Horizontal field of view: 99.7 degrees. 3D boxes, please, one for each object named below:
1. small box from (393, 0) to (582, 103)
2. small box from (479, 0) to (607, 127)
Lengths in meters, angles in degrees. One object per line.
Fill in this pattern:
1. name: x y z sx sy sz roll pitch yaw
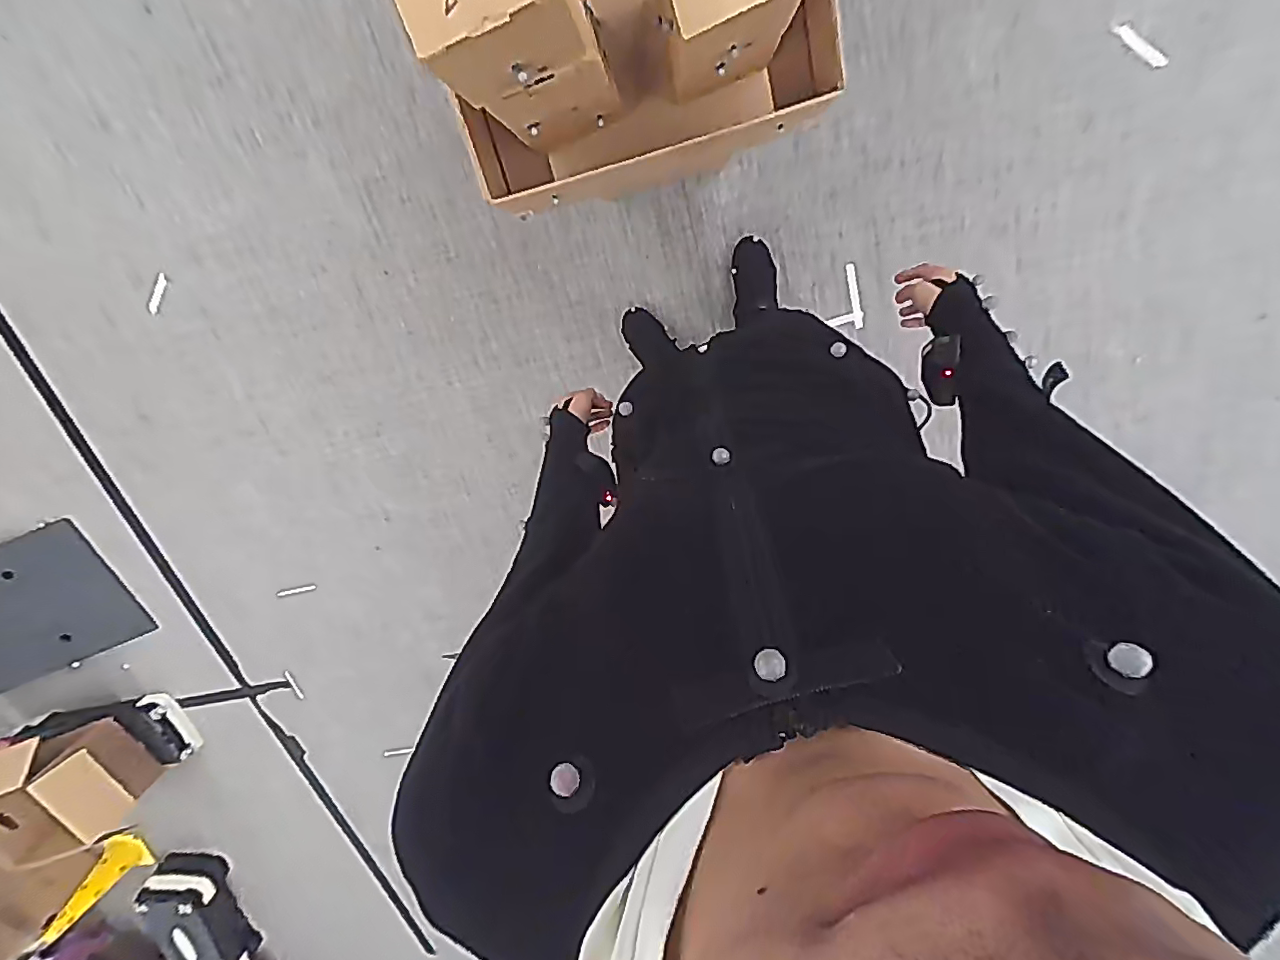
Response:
1. small box: -0.179 -0.564 0.596 0.168 0.176 0.179 -18 108 11
2. small box: -0.154 -0.621 0.751 0.168 0.176 0.179 -16 108 10
